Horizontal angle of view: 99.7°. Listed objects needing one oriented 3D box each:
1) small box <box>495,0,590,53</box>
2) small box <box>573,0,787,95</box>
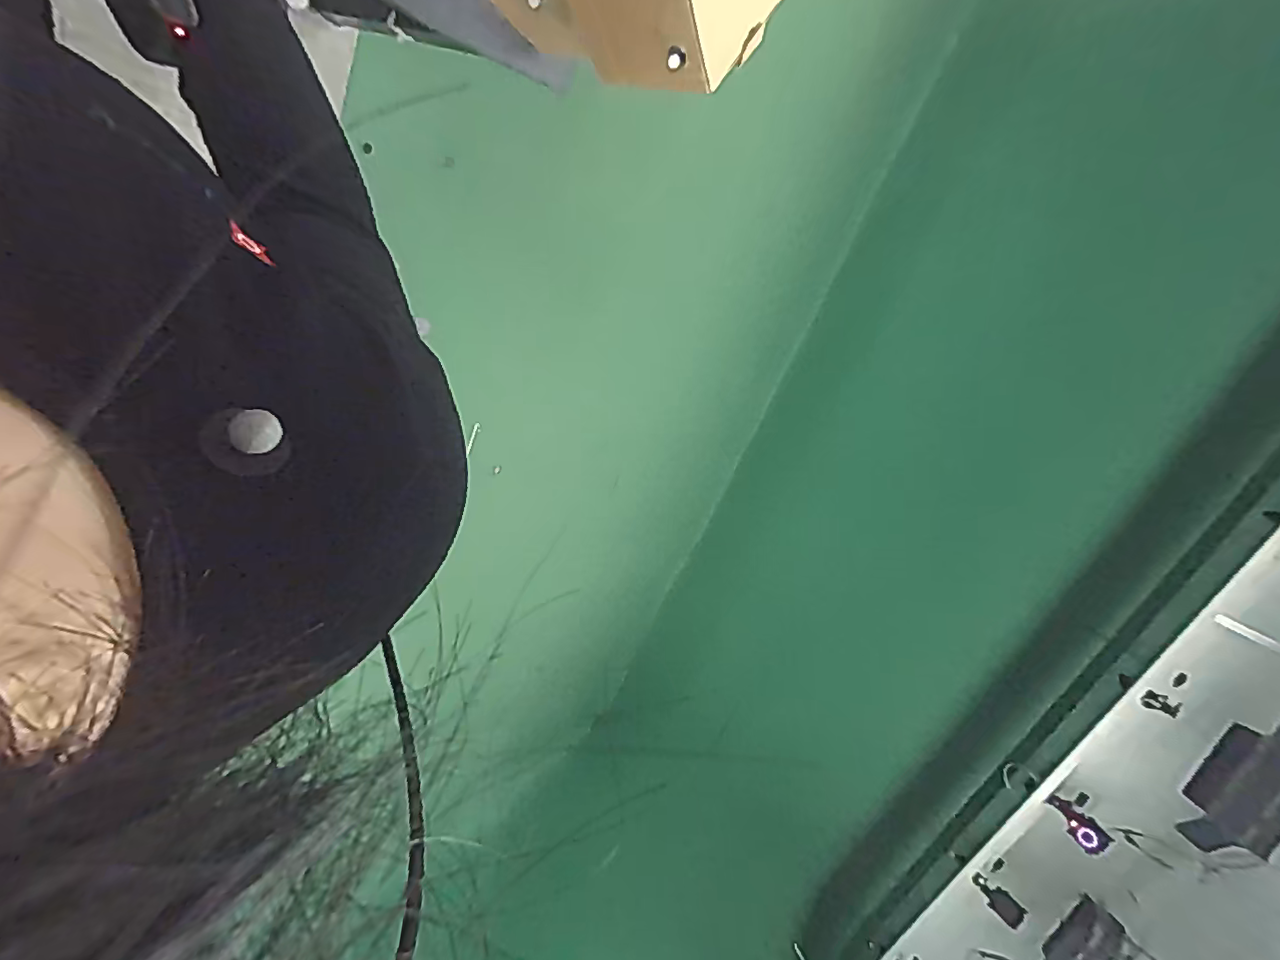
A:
[{"bbox_3d":[-0.086,-0.623,0.614,0.179,0.176,0.168,5,113,-57],"label":"small box"},{"bbox_3d":[0.032,-0.533,0.542,0.168,0.176,0.179,-55,151,-6],"label":"small box"}]
